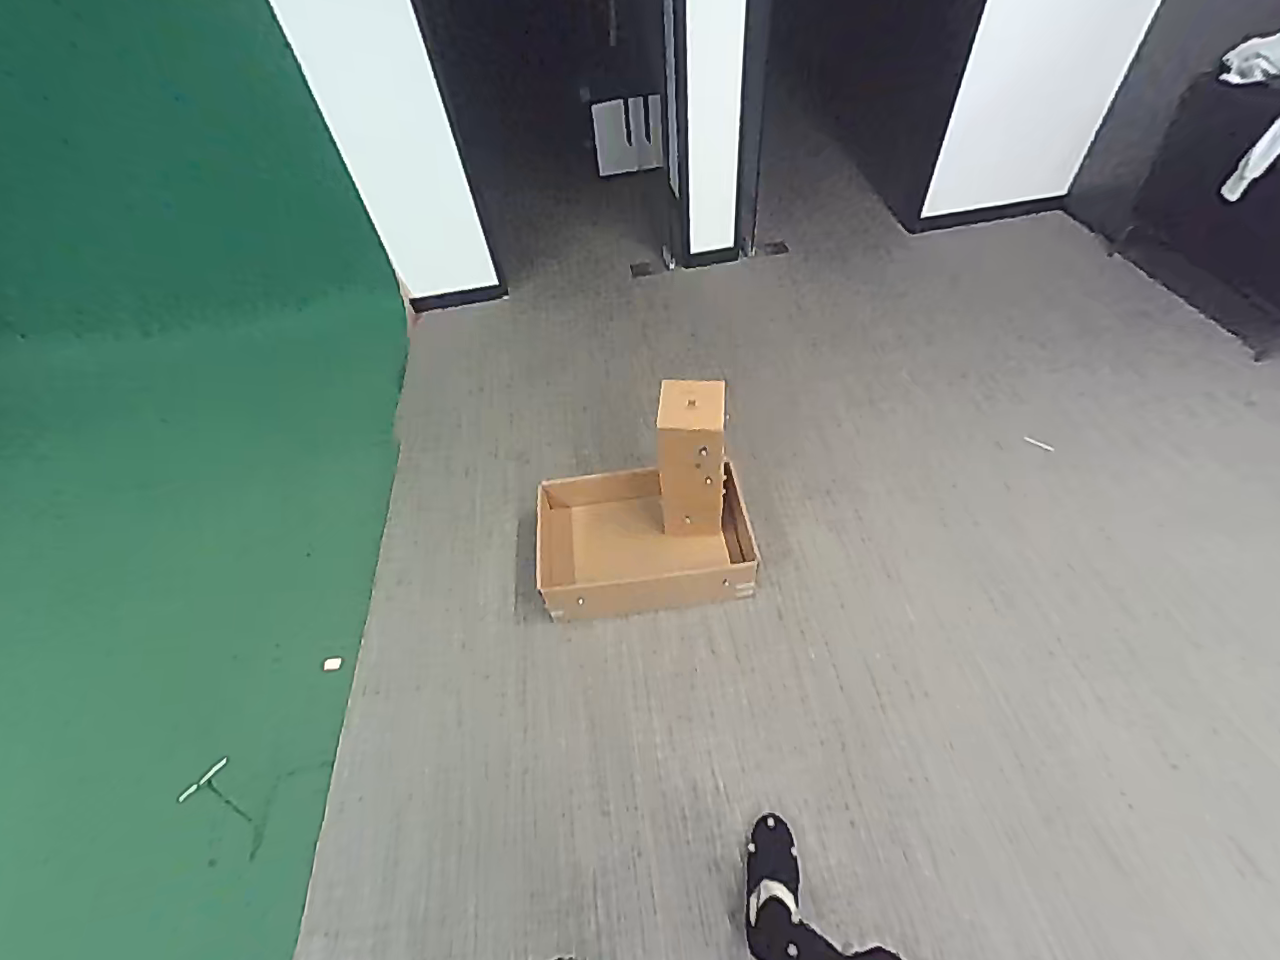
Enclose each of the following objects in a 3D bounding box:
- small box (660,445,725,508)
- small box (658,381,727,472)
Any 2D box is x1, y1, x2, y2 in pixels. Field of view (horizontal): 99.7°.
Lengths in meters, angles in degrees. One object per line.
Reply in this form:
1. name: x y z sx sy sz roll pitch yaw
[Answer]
1. small box: 0.154 -0.034 1.546 0.179 0.176 0.168 1 52 7
2. small box: 0.141 -0.137 1.420 0.168 0.176 0.179 4 52 8
